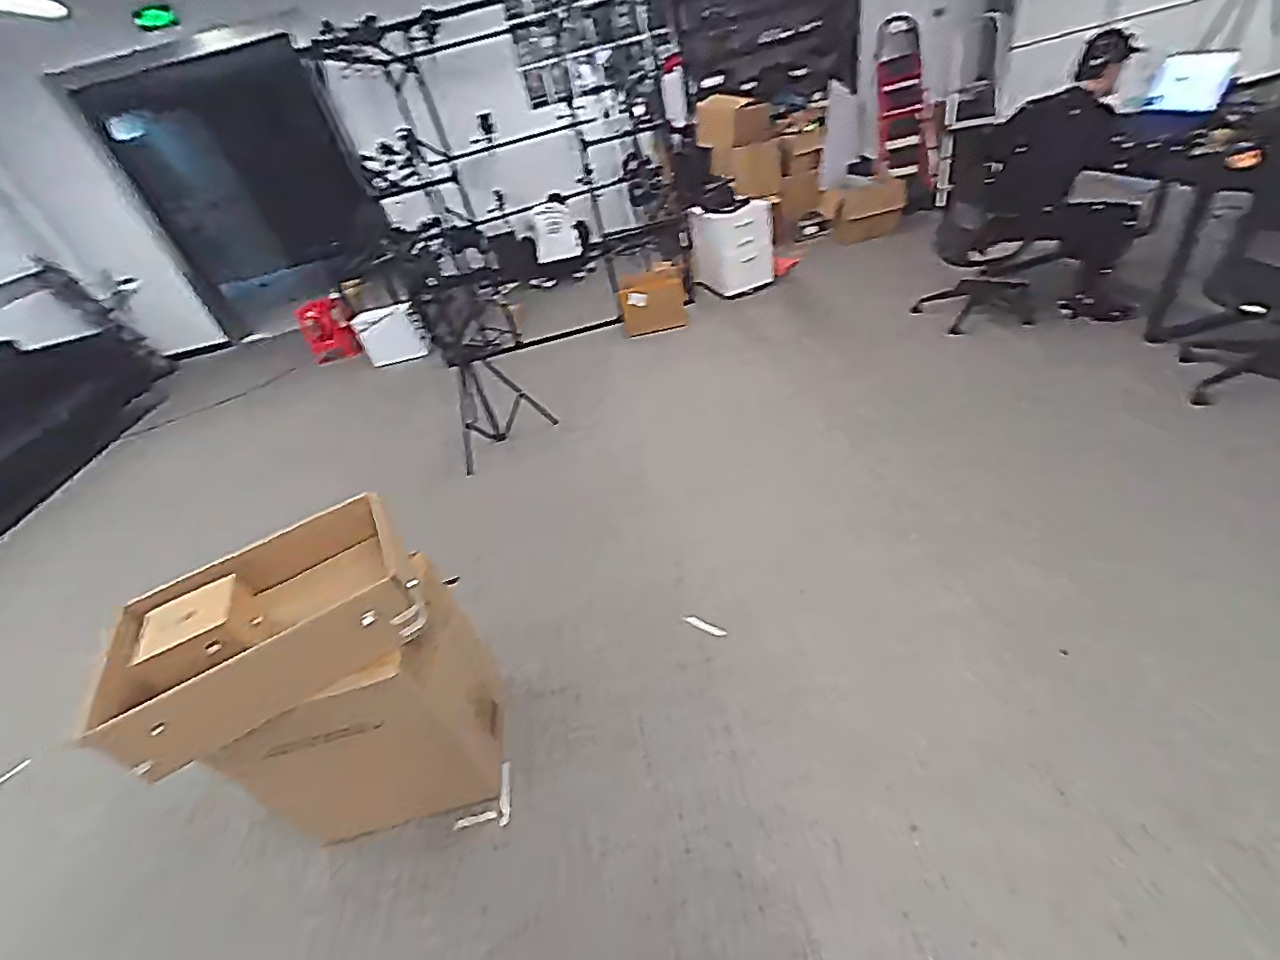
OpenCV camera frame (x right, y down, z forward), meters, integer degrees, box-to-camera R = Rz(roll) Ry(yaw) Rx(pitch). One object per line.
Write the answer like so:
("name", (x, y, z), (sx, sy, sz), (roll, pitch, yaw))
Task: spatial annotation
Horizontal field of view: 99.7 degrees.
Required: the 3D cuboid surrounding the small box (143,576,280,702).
("small box", (-0.941, 0.355, 1.210), (0.179, 0.176, 0.168), (-27, 39, -15))
